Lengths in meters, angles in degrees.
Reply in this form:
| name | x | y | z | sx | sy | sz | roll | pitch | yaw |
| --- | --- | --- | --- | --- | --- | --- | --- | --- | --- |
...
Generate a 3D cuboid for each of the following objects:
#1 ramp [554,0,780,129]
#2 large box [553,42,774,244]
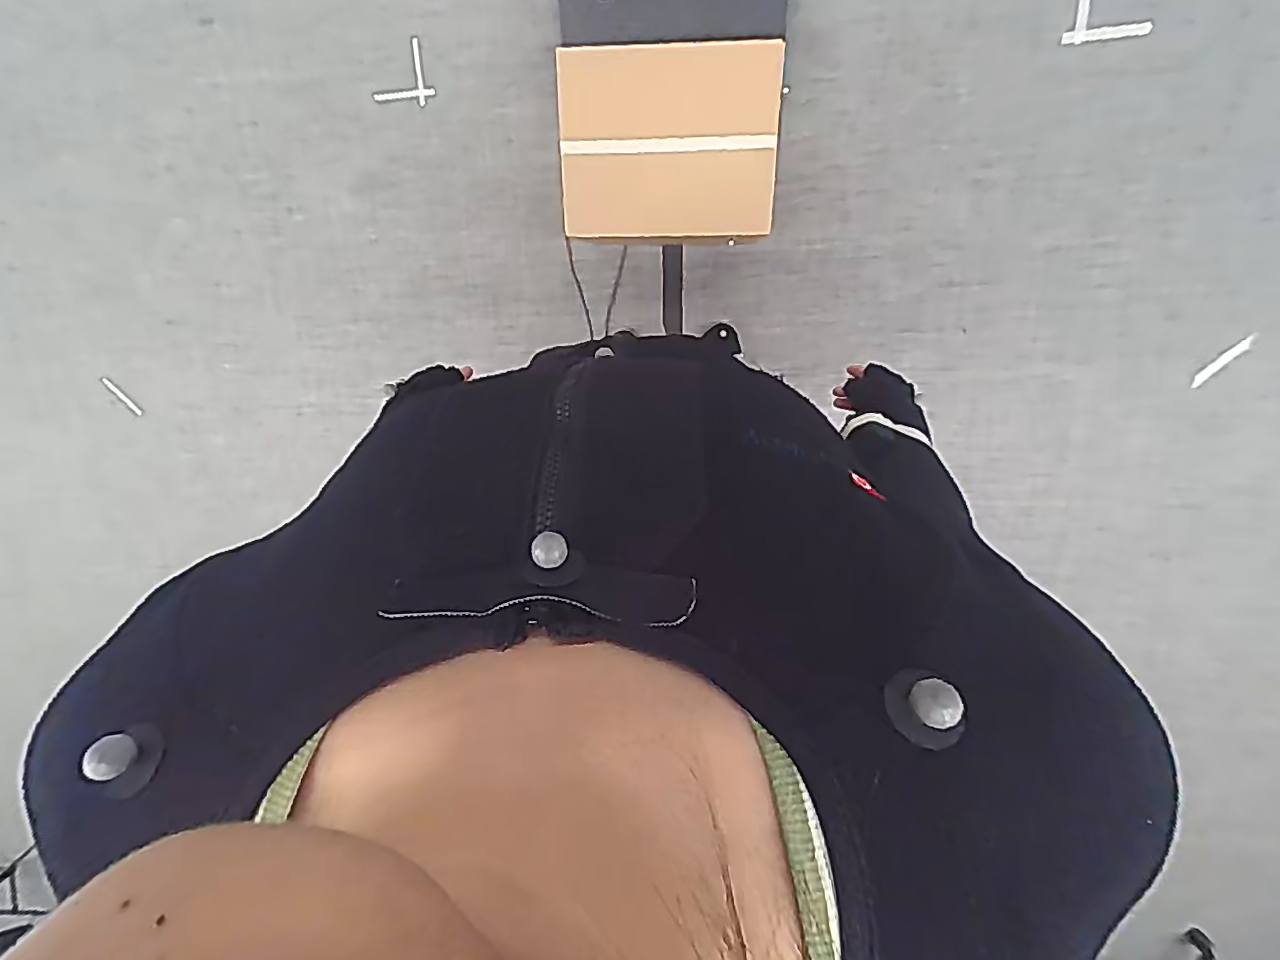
| name | x | y | z | sx | sy | sz | roll | pitch | yaw |
| --- | --- | --- | --- | --- | --- | --- | --- | --- | --- |
| ramp | 0.048 | -1.245 | 1.057 | 0.509 | 0.206 | 0.991 | -2 | 106 | 4 |
| large box | 0.054 | -0.679 | 1.151 | 0.408 | 0.320 | 0.320 | 1 | 110 | 4 |
